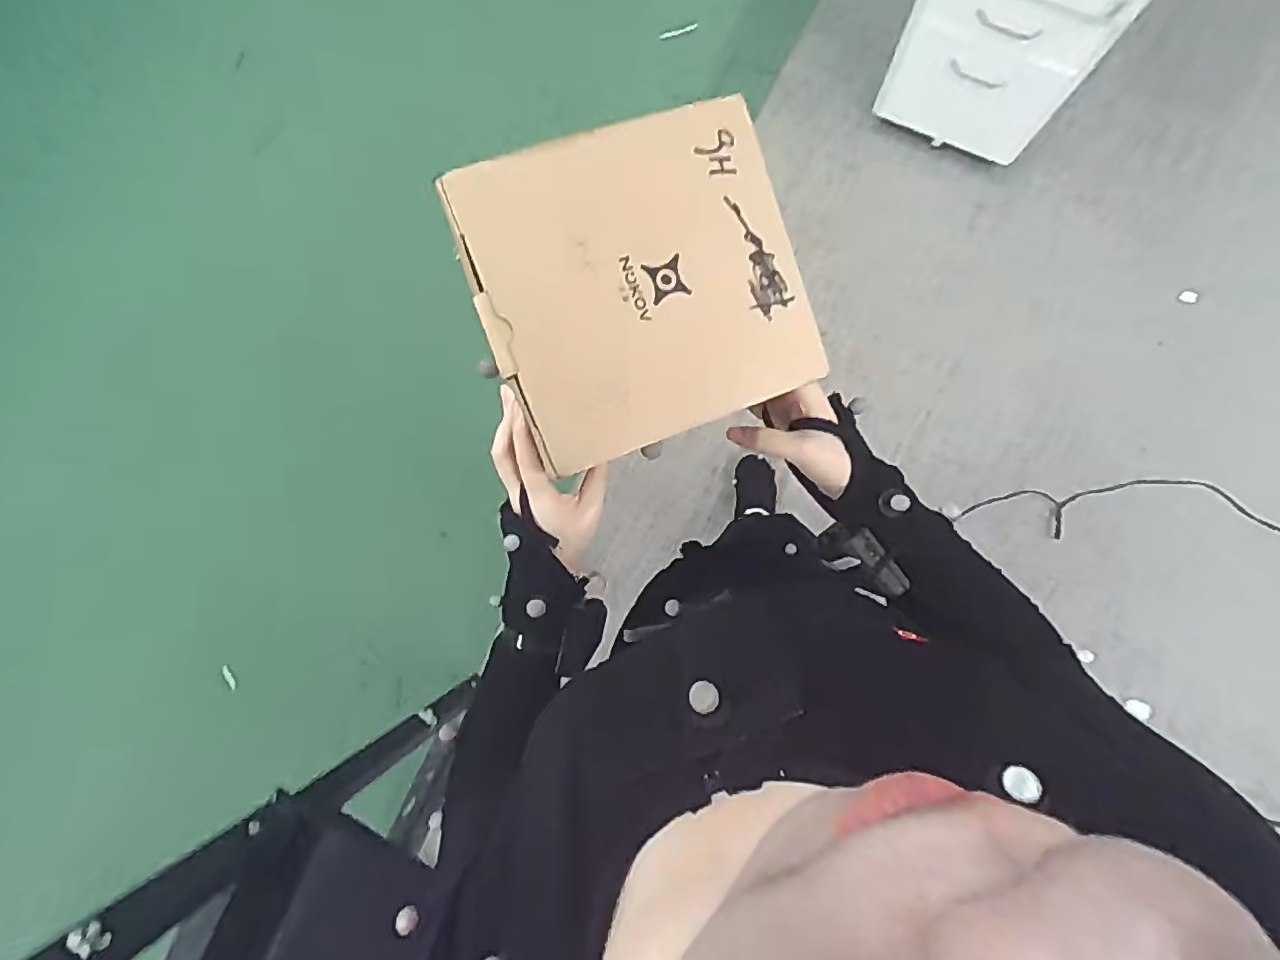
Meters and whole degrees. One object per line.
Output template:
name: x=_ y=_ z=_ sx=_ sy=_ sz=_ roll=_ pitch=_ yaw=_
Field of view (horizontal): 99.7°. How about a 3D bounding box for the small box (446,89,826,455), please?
small box: x=-0.009 y=-0.118 z=0.376 sx=0.179 sy=0.176 sz=0.168 roll=-20 pitch=96 yaw=-10
